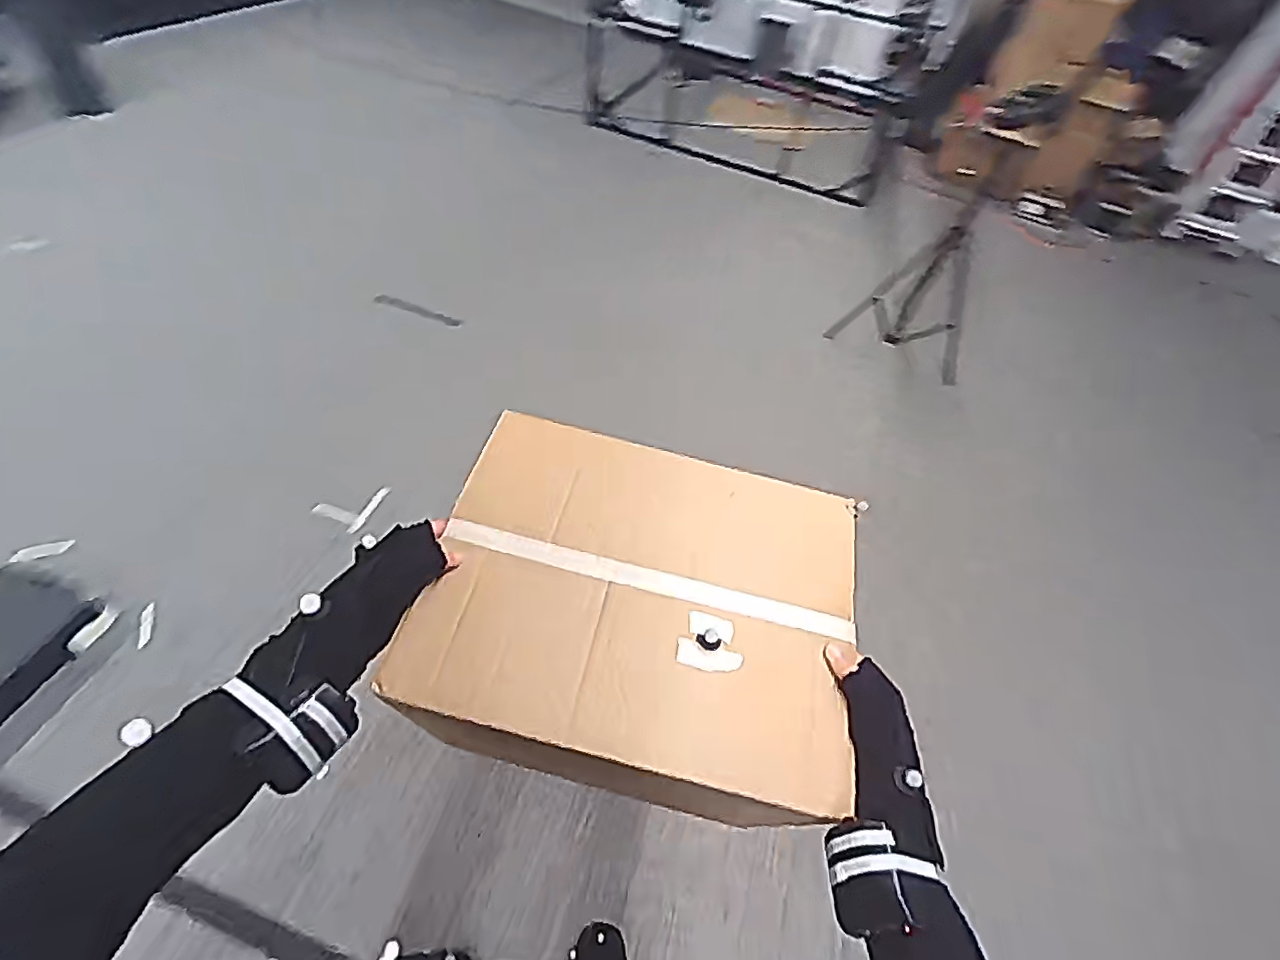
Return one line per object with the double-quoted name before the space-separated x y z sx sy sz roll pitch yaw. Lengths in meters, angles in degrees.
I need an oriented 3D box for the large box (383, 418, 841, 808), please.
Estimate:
"large box" -0.016 0.175 0.656 0.408 0.320 0.320 14 57 1
